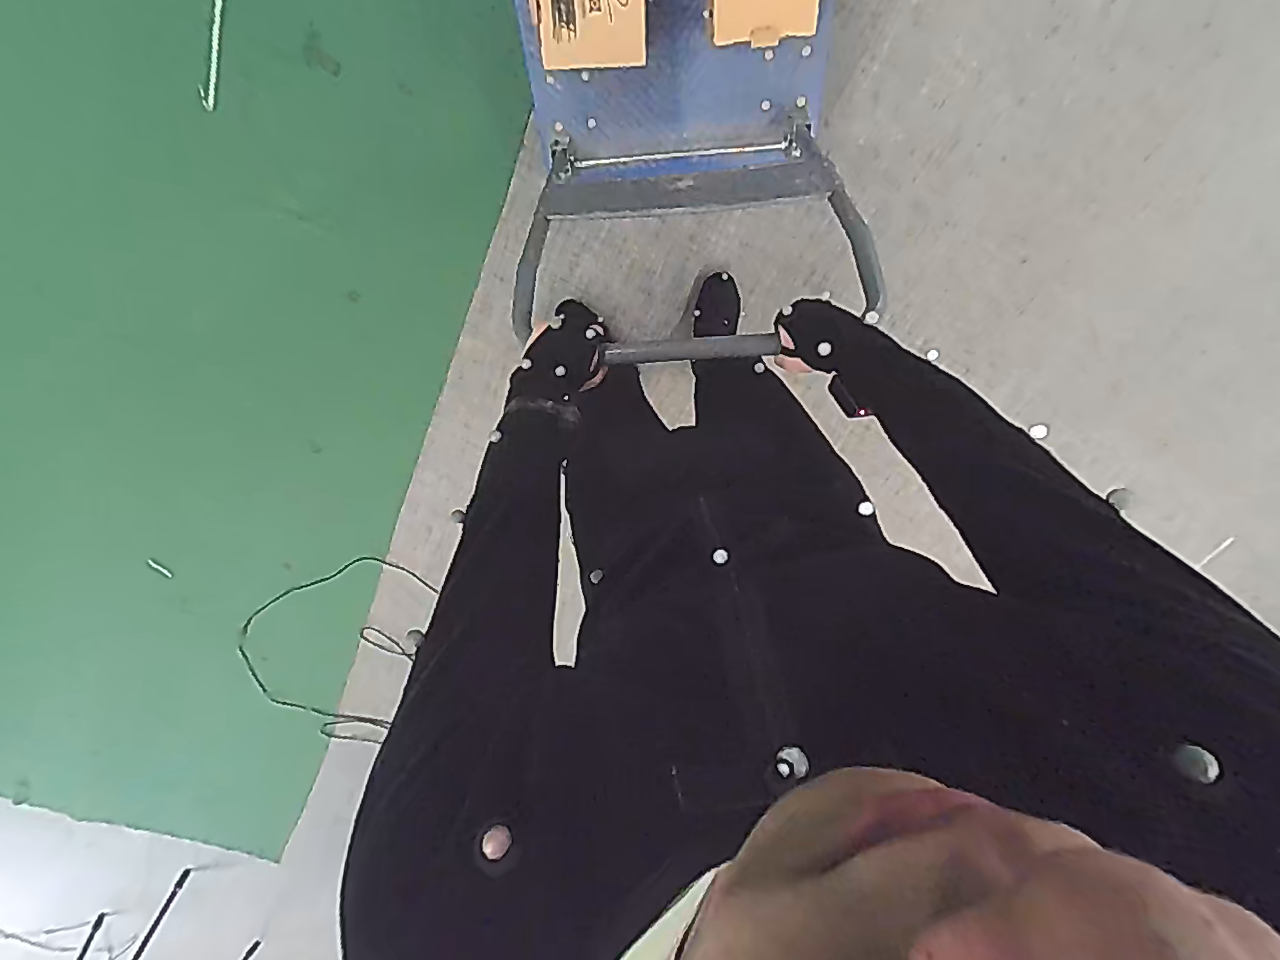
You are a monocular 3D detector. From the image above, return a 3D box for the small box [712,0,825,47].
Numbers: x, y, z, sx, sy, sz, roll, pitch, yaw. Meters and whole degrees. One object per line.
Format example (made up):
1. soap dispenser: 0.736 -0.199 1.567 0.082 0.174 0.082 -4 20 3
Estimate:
1. small box: 0.204 -0.828 0.873 0.168 0.176 0.179 -2 136 5
